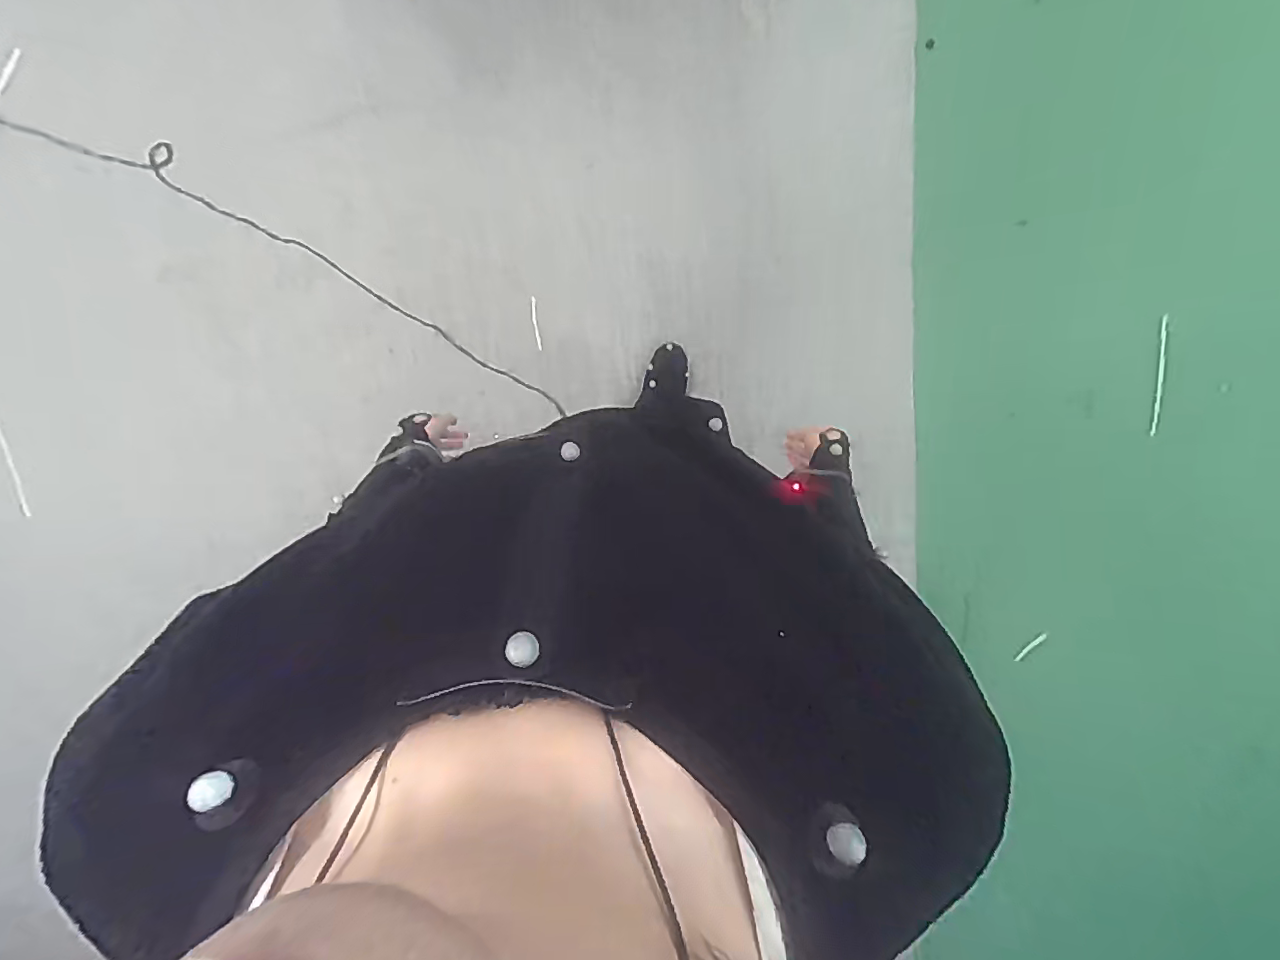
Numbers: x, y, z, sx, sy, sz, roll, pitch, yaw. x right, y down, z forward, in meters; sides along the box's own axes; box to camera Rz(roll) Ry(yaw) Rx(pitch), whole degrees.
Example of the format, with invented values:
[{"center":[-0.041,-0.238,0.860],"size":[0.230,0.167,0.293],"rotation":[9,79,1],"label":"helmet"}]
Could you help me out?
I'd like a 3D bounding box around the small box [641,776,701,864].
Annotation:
[{"center":[0.090,0.994,1.609],"size":[0.168,0.176,0.179],"rotation":[-4,102,1],"label":"small box"}]
